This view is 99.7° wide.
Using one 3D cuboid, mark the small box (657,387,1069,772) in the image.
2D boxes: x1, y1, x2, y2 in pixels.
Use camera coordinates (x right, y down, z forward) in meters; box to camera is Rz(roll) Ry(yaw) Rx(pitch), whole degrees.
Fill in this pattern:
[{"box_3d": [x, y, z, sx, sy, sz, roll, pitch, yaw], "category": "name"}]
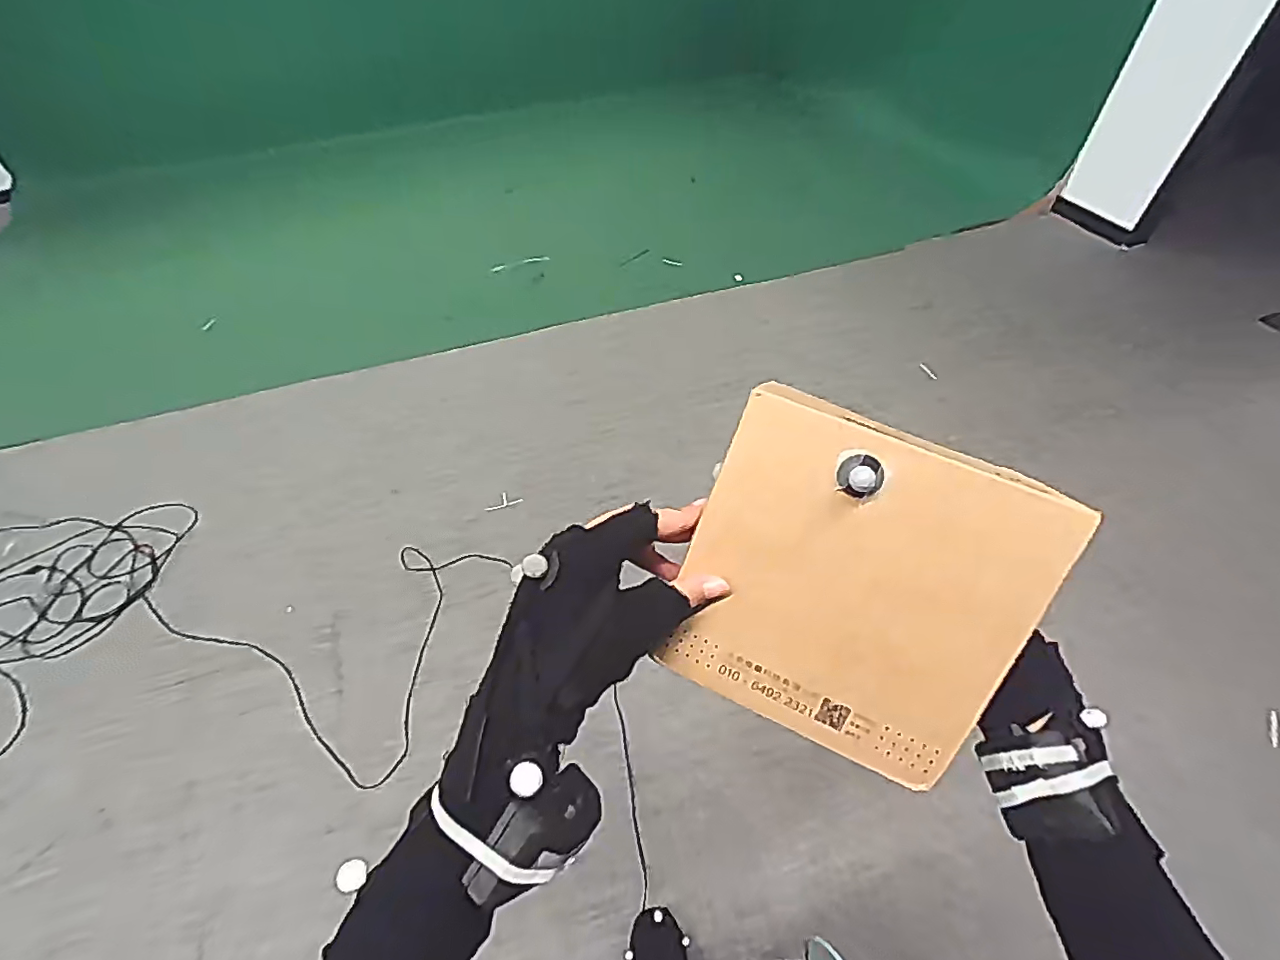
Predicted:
[{"box_3d": [0.126, 0.046, 0.368, 0.168, 0.176, 0.179, 23, 15, 12], "category": "small box"}]
